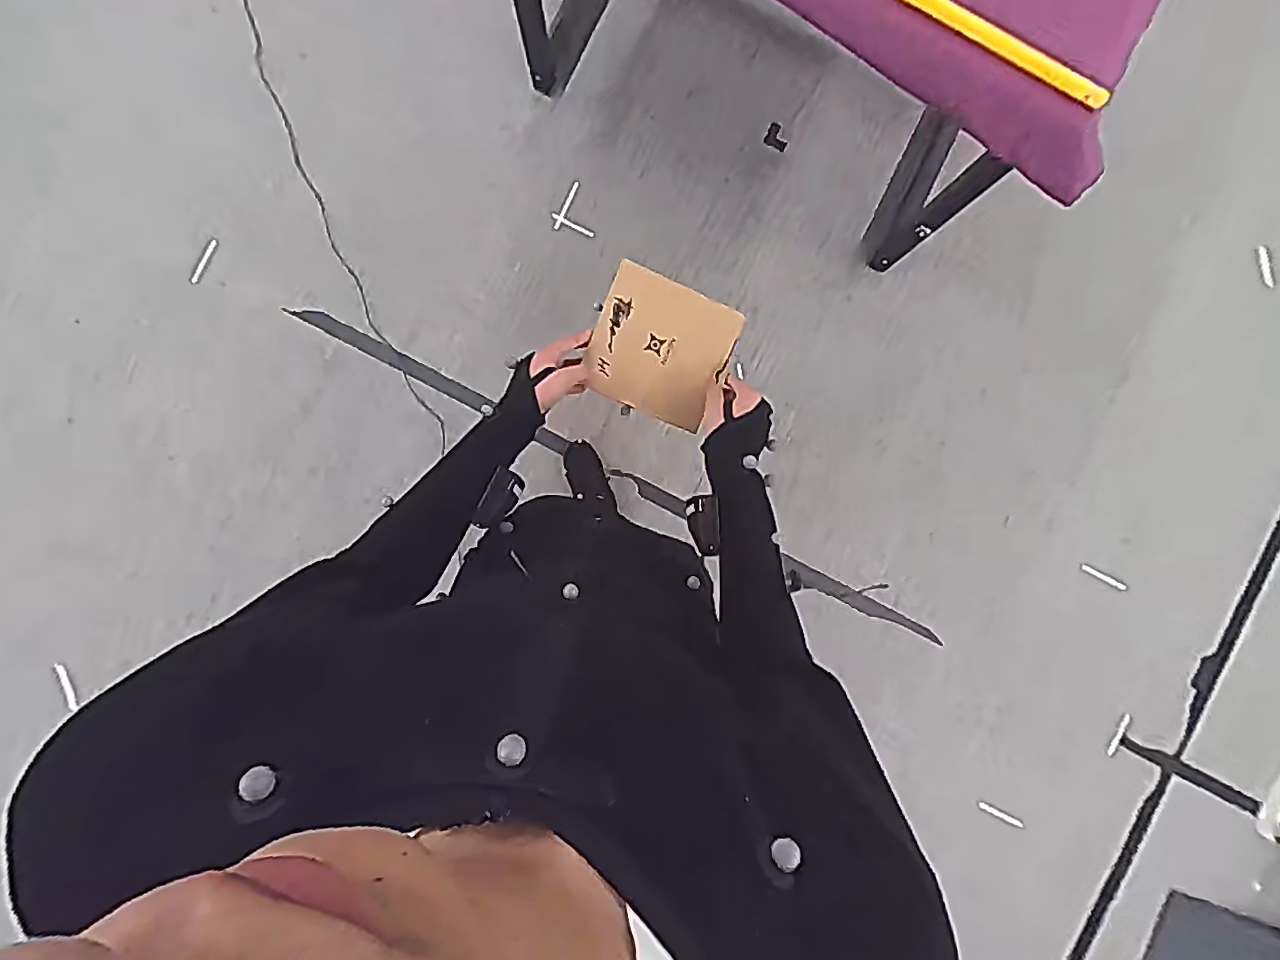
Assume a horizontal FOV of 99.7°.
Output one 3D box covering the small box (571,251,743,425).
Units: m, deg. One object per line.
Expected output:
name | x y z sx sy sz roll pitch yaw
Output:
small box | 0.014 -0.192 0.763 0.179 0.176 0.168 22 97 -10
